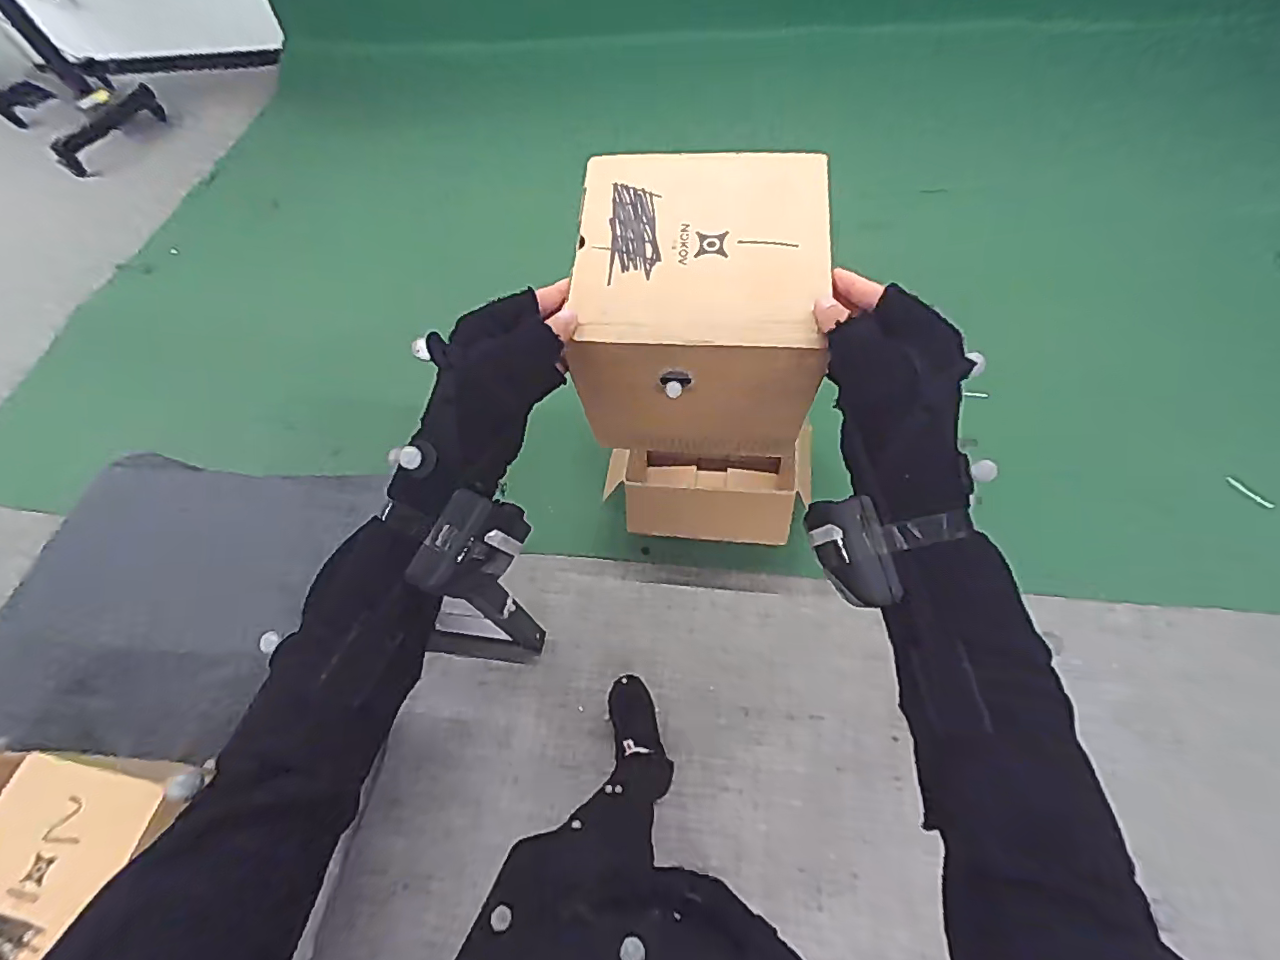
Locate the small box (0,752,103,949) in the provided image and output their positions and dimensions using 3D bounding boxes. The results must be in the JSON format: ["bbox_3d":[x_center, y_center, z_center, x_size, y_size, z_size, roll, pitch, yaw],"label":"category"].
[{"bbox_3d":[-0.733,0.380,0.560,0.168,0.176,0.179,2,61,7],"label":"small box"}]

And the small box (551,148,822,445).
[{"bbox_3d":[0.042,-0.137,0.444,0.179,0.176,0.168,3,70,6],"label":"small box"}]
